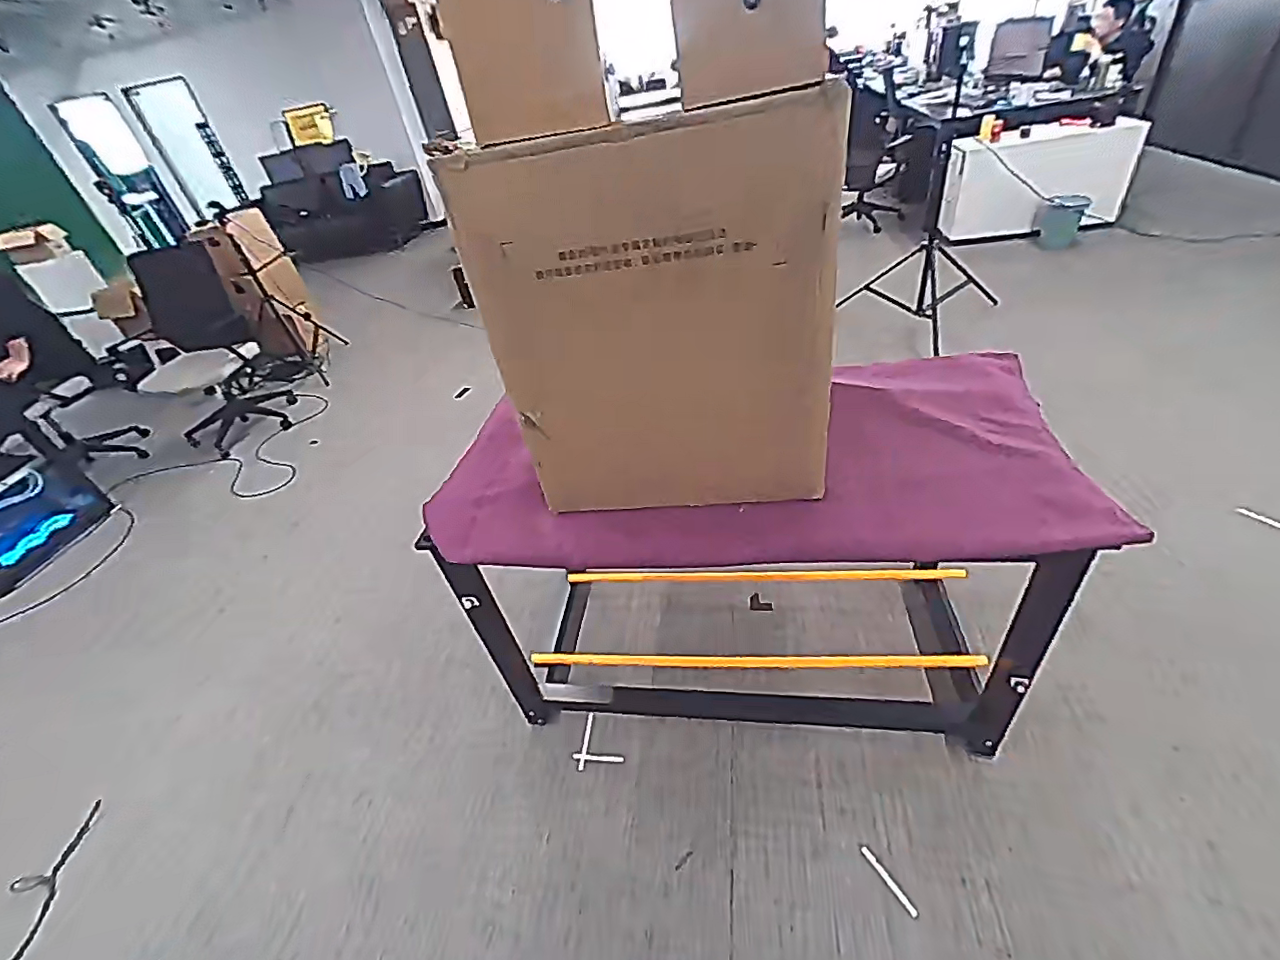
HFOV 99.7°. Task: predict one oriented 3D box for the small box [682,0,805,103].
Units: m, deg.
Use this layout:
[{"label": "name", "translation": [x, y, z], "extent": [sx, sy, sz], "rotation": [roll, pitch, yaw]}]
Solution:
[{"label": "small box", "translation": [0.154, -0.678, 0.805], "extent": [0.168, 0.176, 0.179], "rotation": [-3, 39, 13]}]
